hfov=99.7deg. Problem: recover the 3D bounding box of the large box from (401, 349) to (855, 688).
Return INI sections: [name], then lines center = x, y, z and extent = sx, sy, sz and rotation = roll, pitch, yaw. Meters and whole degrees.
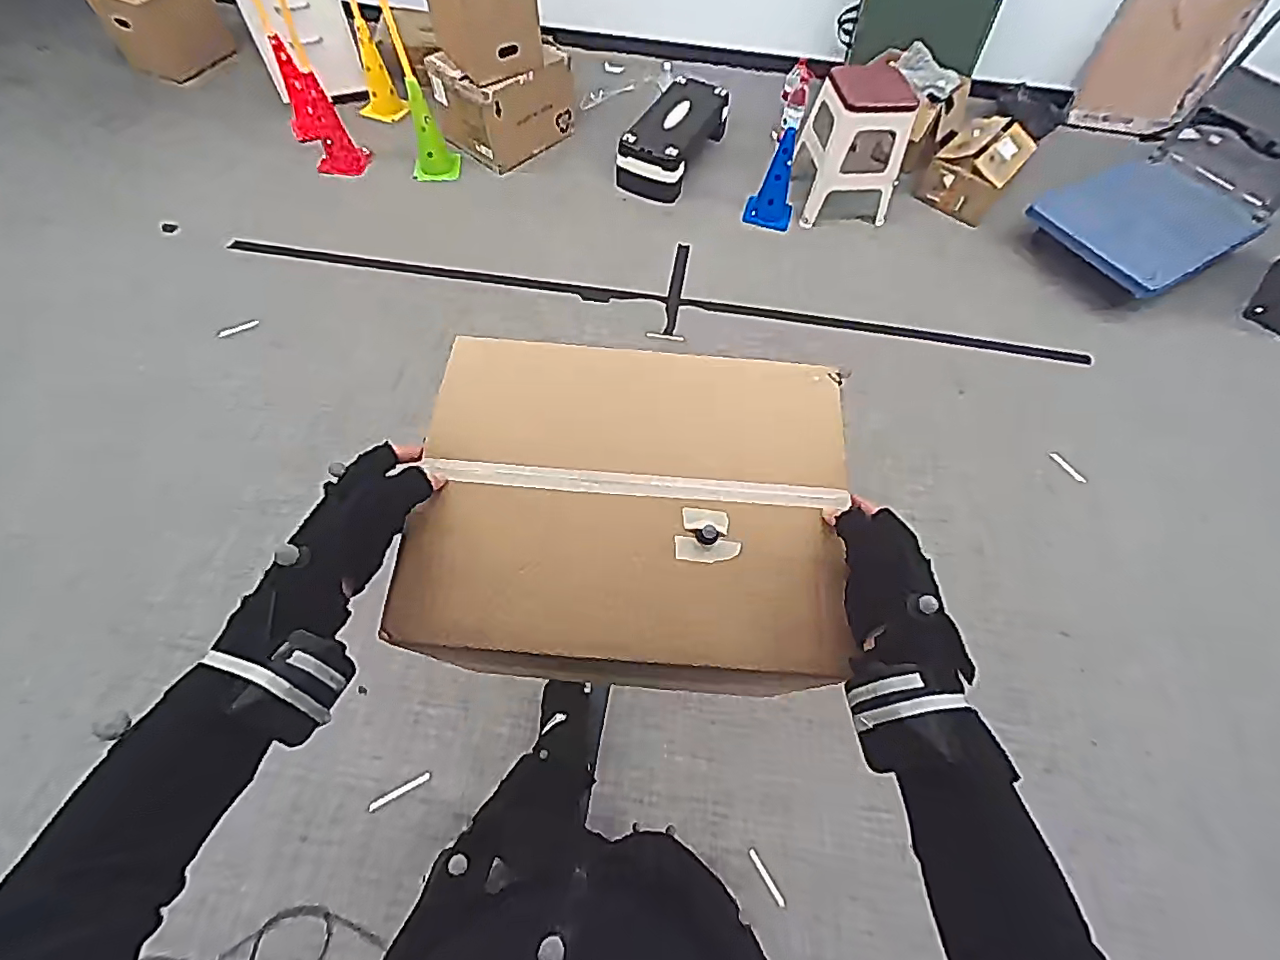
[large box]
center = -0.009, 0.071, 0.662
extent = 0.408, 0.320, 0.320
rotation = 5, 66, -1
